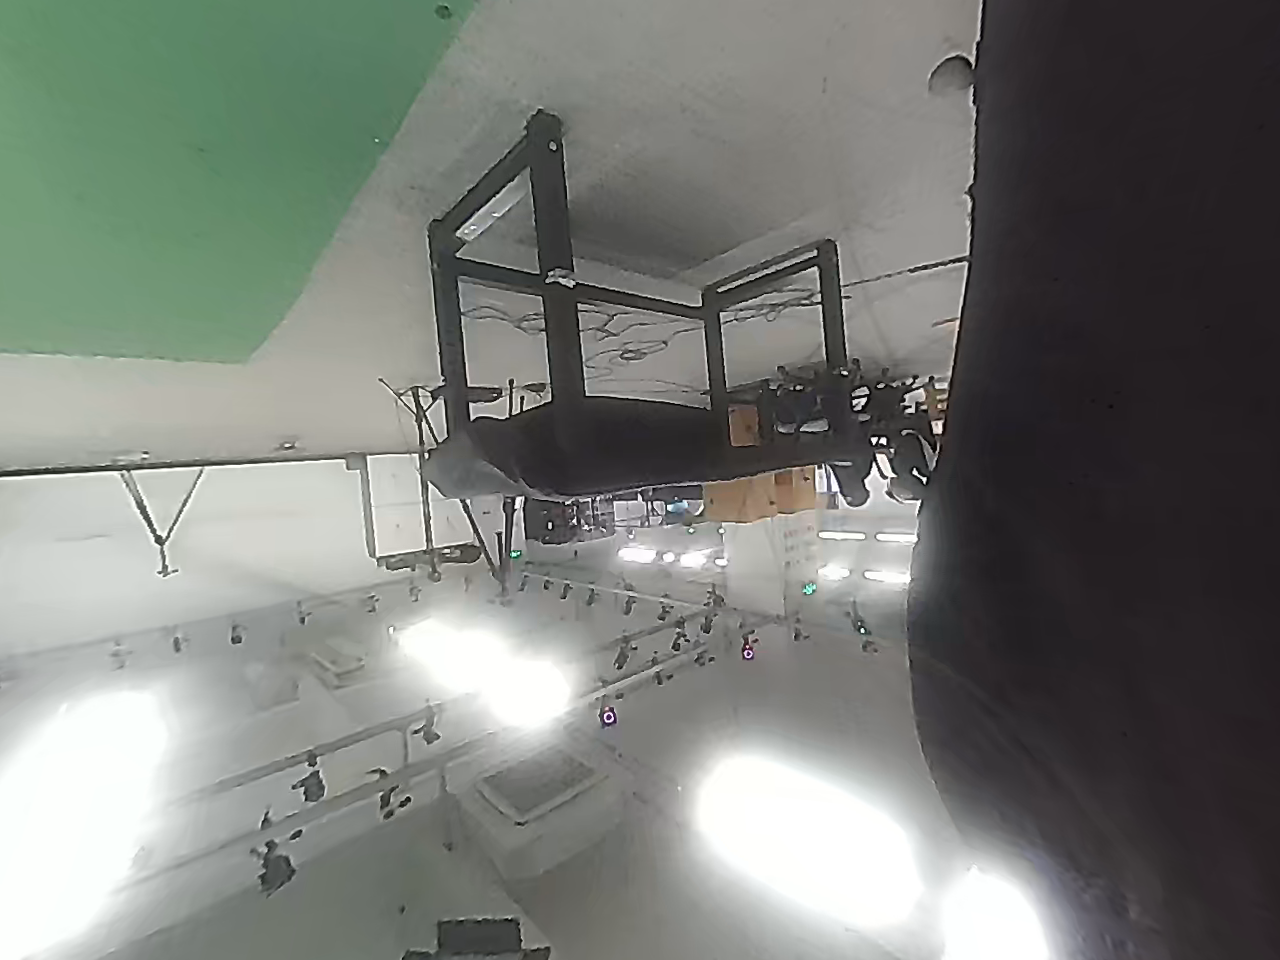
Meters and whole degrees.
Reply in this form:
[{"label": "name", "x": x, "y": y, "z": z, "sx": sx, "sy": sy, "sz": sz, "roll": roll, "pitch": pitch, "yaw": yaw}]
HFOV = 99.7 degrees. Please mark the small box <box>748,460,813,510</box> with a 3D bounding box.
[{"label": "small box", "x": 0.505, "y": 0.014, "z": 1.942, "sx": 0.179, "sy": 0.176, "sz": 0.168, "roll": -1, "pitch": -177, "yaw": 45}]
